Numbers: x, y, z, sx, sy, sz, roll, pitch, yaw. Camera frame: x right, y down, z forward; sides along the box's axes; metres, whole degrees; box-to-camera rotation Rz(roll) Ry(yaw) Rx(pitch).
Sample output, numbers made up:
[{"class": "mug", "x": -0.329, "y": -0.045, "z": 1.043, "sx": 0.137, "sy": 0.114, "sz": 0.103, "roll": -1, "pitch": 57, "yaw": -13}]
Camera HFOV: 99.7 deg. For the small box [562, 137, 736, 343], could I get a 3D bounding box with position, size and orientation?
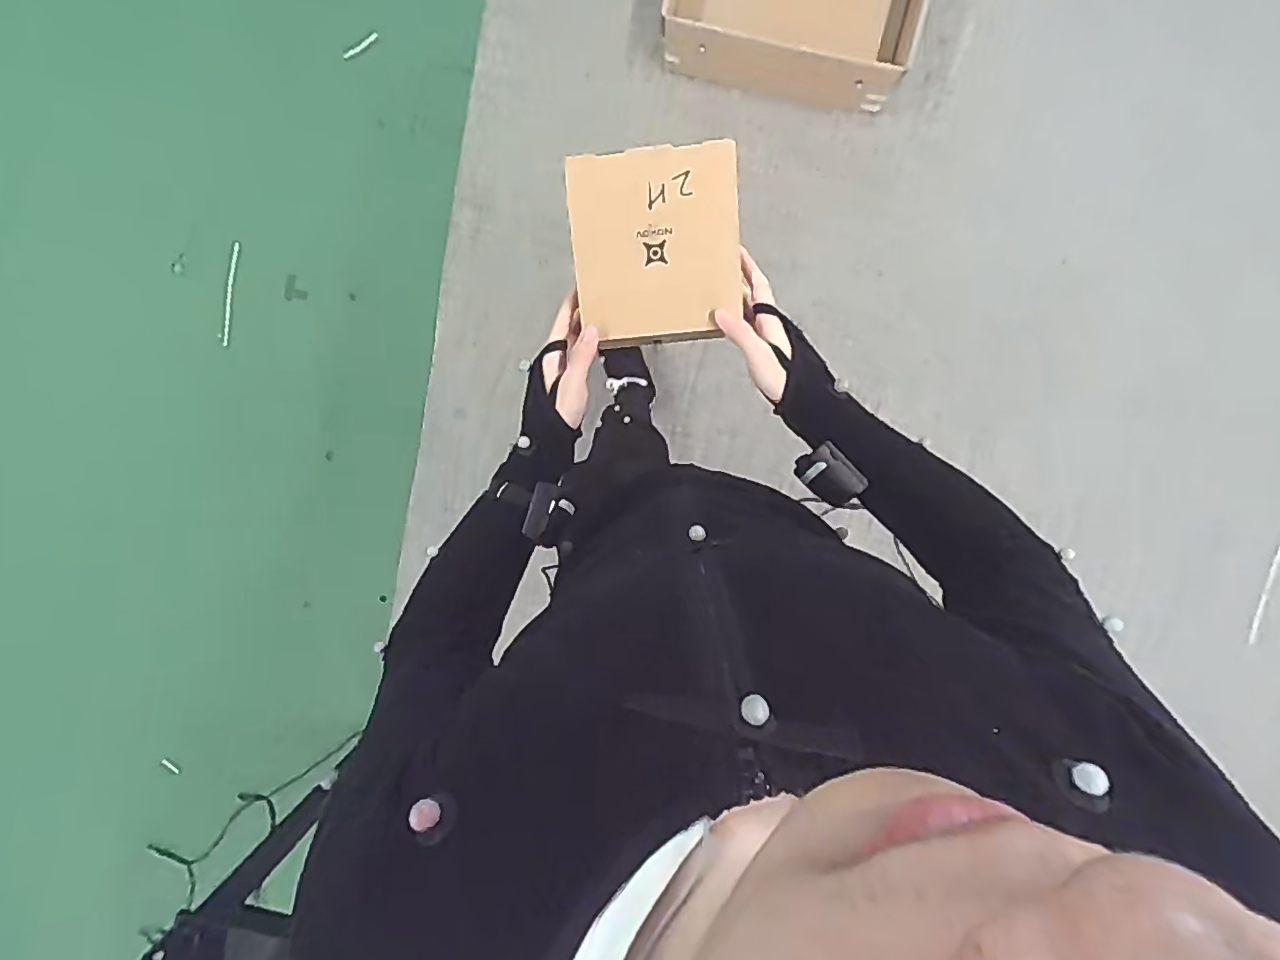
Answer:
[{"class": "small box", "x": 0.015, "y": -0.248, "z": 0.603, "sx": 0.168, "sy": 0.176, "sz": 0.179, "roll": -4, "pitch": 101, "yaw": 3}]
